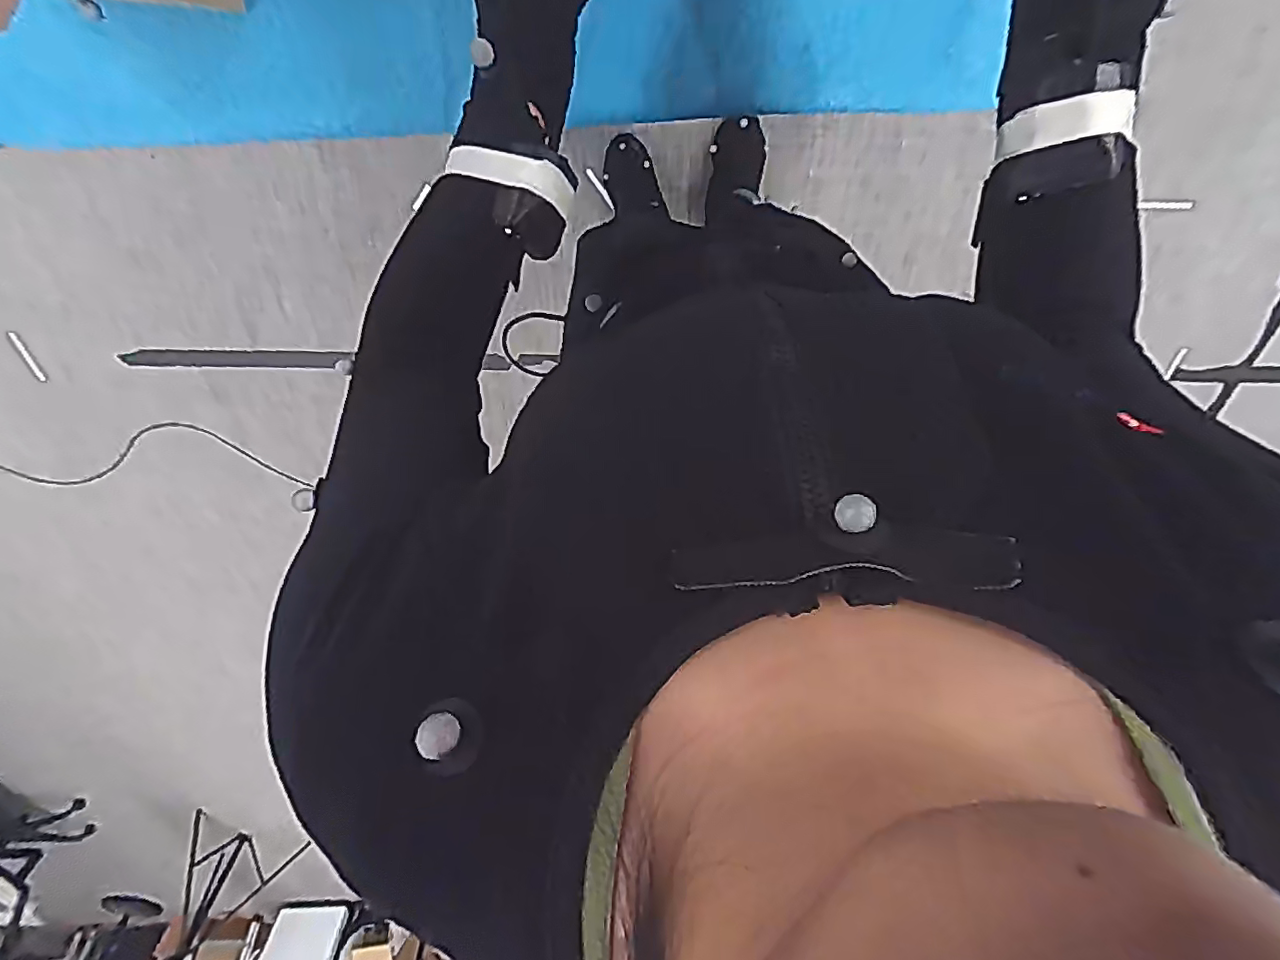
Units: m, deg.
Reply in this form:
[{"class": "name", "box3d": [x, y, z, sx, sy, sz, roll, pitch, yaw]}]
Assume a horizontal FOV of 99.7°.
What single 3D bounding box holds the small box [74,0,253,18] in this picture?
[{"class": "small box", "box3d": [-0.428, -0.451, 0.377, 0.168, 0.176, 0.179, 3, 127, -3]}]
